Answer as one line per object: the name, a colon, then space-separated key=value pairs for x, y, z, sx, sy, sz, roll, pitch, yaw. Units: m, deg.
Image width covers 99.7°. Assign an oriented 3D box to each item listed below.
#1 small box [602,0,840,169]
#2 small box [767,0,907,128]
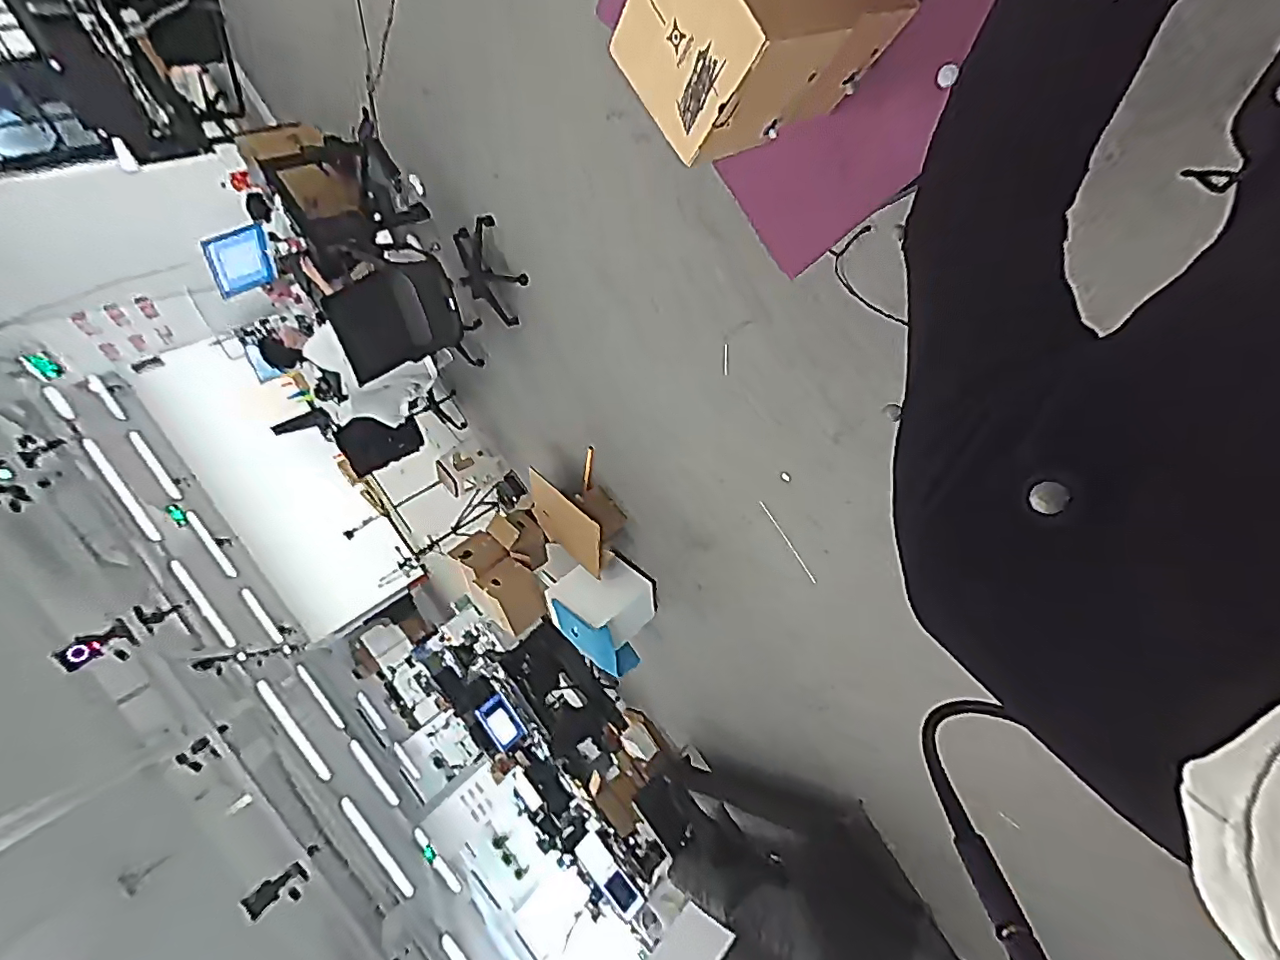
small box: x=0.092 y=-0.508 z=0.624 sx=0.179 sy=0.176 sz=0.168 roll=57 pitch=150 yaw=-1
small box: x=0.203 y=-0.599 z=0.704 sx=0.179 sy=0.176 sz=0.168 roll=55 pitch=150 yaw=-2
